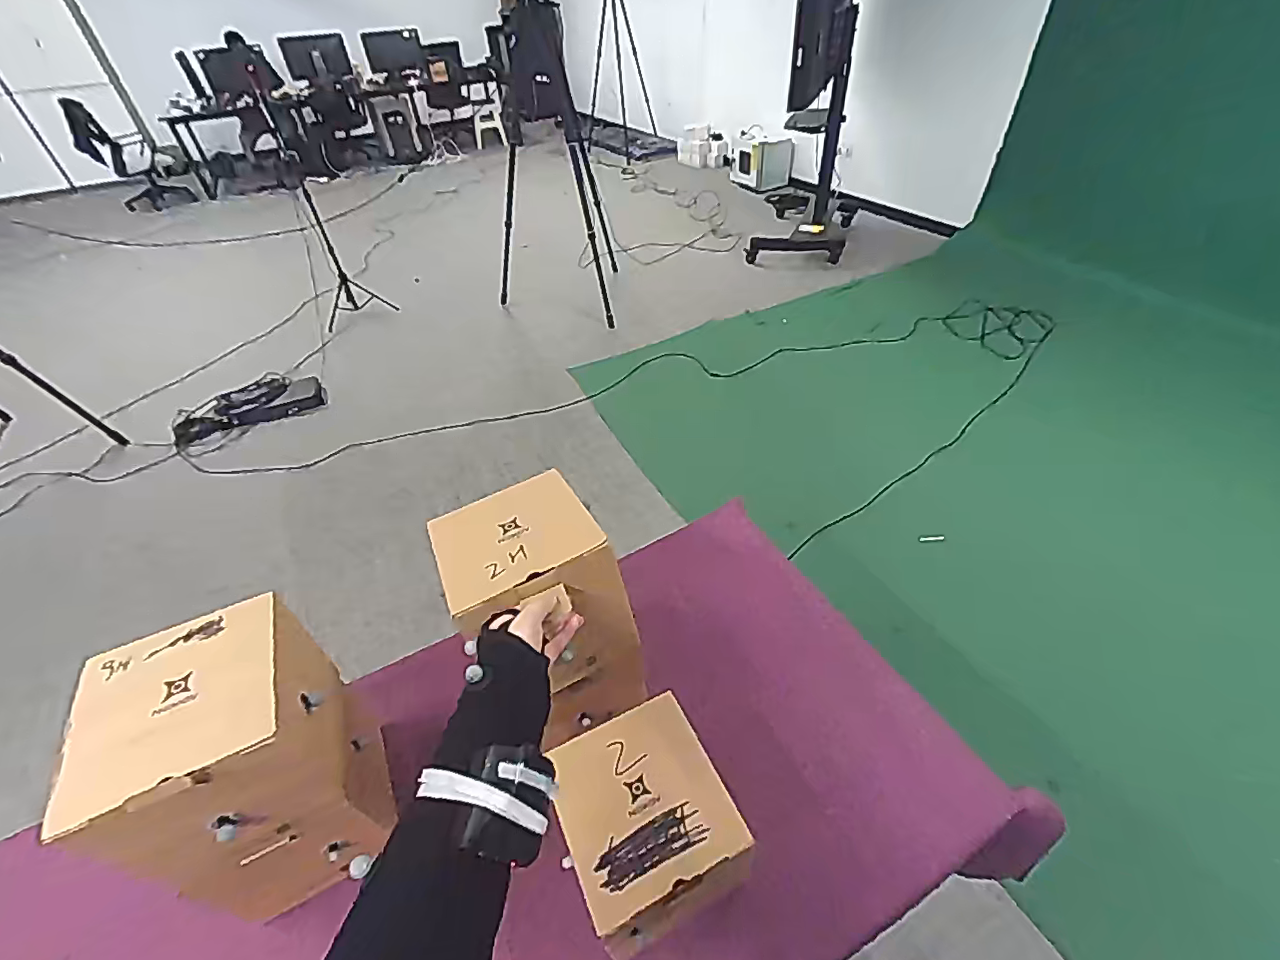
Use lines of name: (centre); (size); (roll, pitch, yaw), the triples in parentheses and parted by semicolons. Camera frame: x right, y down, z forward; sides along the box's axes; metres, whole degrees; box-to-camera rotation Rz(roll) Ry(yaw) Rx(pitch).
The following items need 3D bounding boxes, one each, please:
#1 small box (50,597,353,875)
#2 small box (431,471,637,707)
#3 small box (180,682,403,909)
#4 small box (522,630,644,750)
small box: (-0.411, 0.258, 0.543); (0.168, 0.176, 0.179); (-21, 46, -18)
small box: (-0.123, 0.122, 0.633); (0.168, 0.176, 0.179); (-25, 36, -15)
small box: (-0.407, 0.379, 0.656); (0.168, 0.176, 0.179); (-22, 46, -18)
small box: (-0.107, 0.242, 0.771); (0.168, 0.176, 0.179); (-24, 47, -19)
